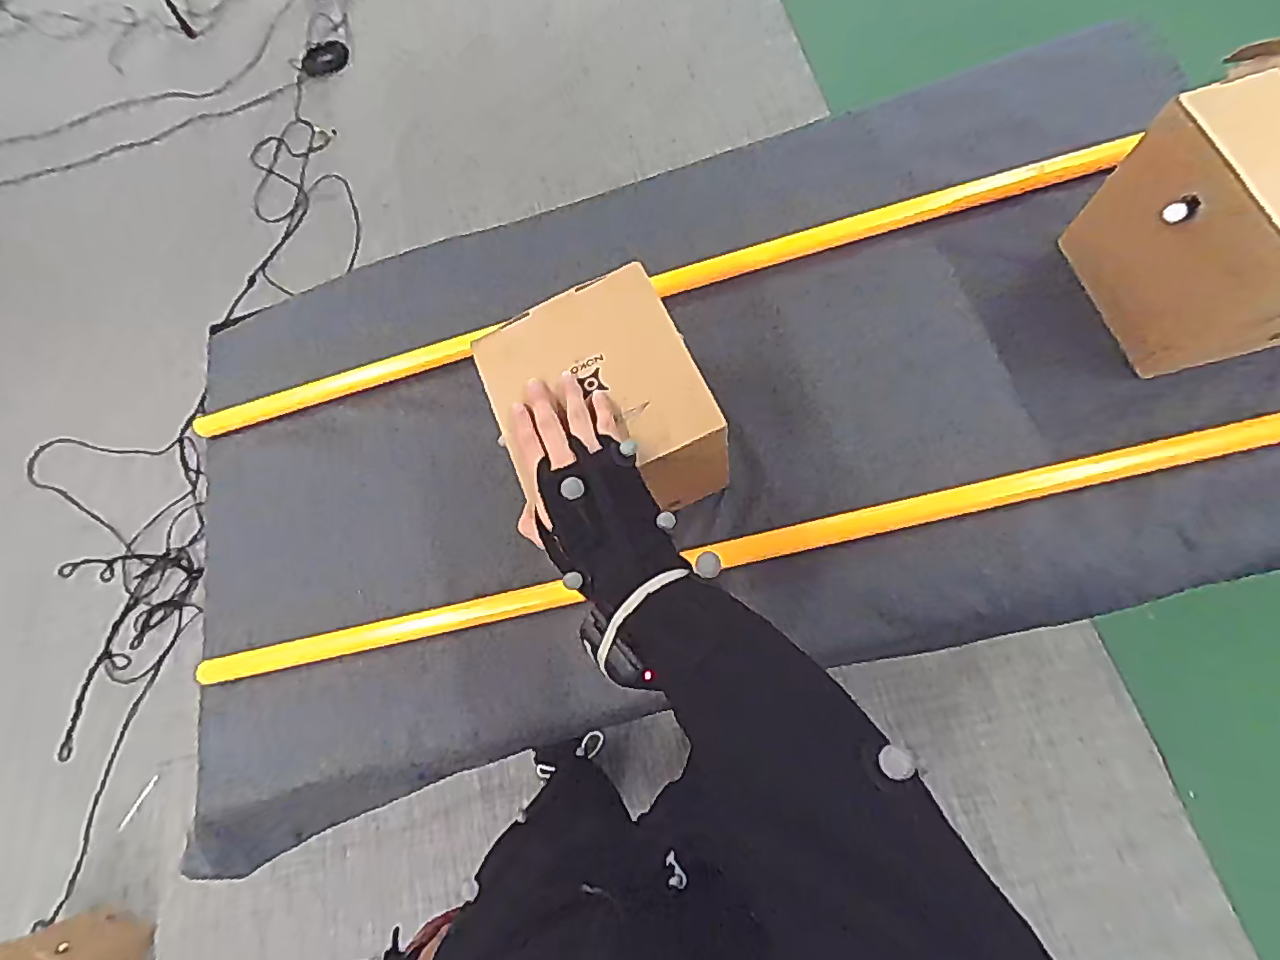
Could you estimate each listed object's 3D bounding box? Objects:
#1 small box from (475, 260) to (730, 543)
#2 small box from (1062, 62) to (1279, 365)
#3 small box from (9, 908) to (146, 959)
[{"bbox_3d":[-0.026,-0.060,0.514,0.168,0.176,0.179,-26,71,2],"label":"small box"},{"bbox_3d":[0.525,-0.219,0.466,0.168,0.176,0.179,-15,70,6],"label":"small box"},{"bbox_3d":[-1.210,1.060,1.138,0.168,0.176,0.179,10,74,13],"label":"small box"}]
